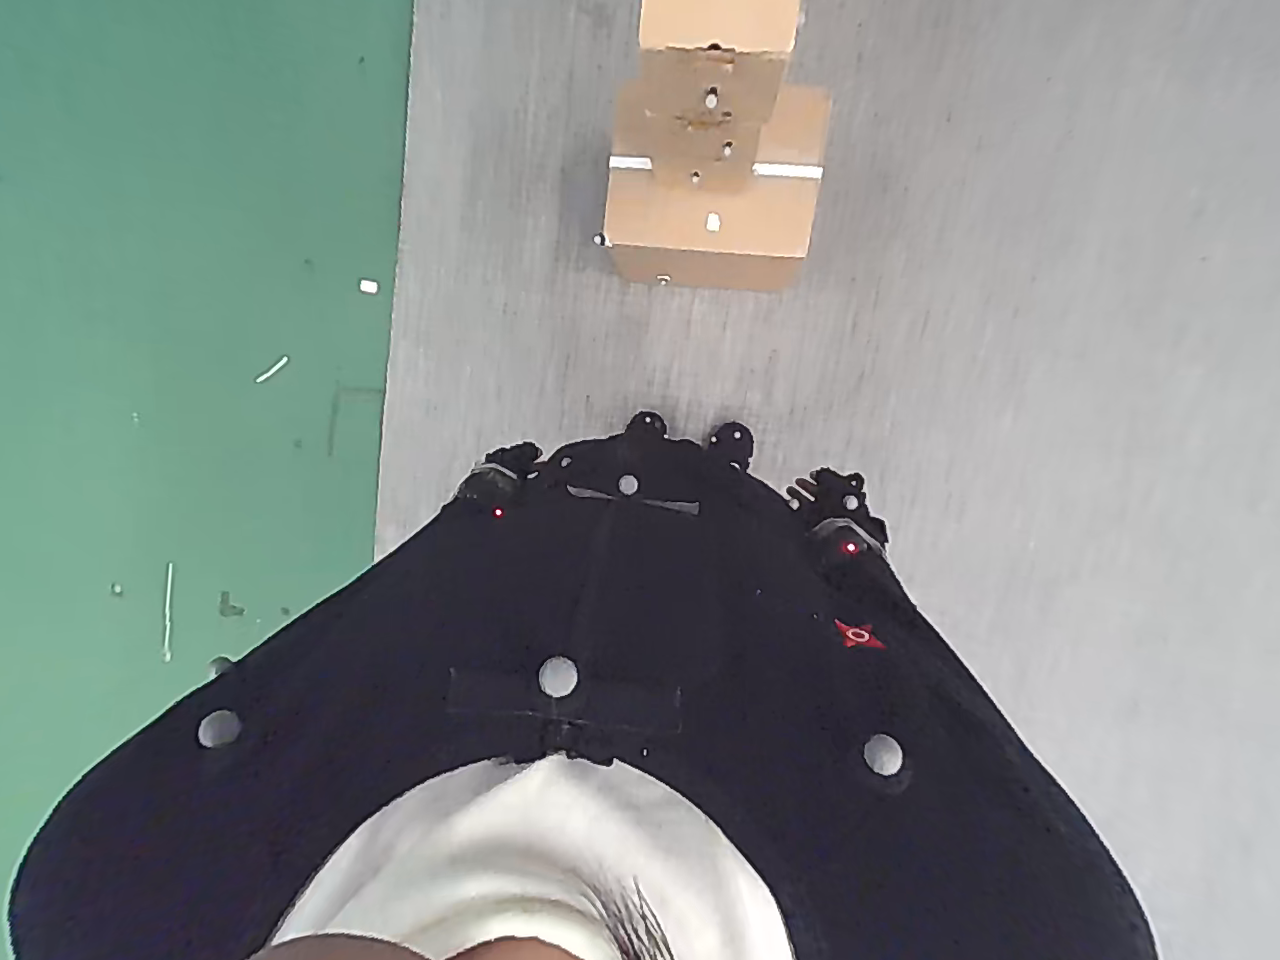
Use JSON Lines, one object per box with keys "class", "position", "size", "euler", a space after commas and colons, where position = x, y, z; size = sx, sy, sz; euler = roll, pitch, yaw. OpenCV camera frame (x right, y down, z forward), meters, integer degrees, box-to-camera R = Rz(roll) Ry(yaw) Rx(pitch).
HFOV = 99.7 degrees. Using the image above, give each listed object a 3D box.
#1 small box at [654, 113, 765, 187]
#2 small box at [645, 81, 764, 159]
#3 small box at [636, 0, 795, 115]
{"class": "small box", "position": [0.126, -0.629, 0.949], "size": [0.179, 0.176, 0.168], "euler": [7, 104, 6]}
{"class": "small box", "position": [0.106, -0.595, 0.793], "size": [0.168, 0.176, 0.179], "euler": [7, 103, 5]}
{"class": "small box", "position": [0.096, -0.558, 0.633], "size": [0.168, 0.176, 0.179], "euler": [8, 105, 6]}
